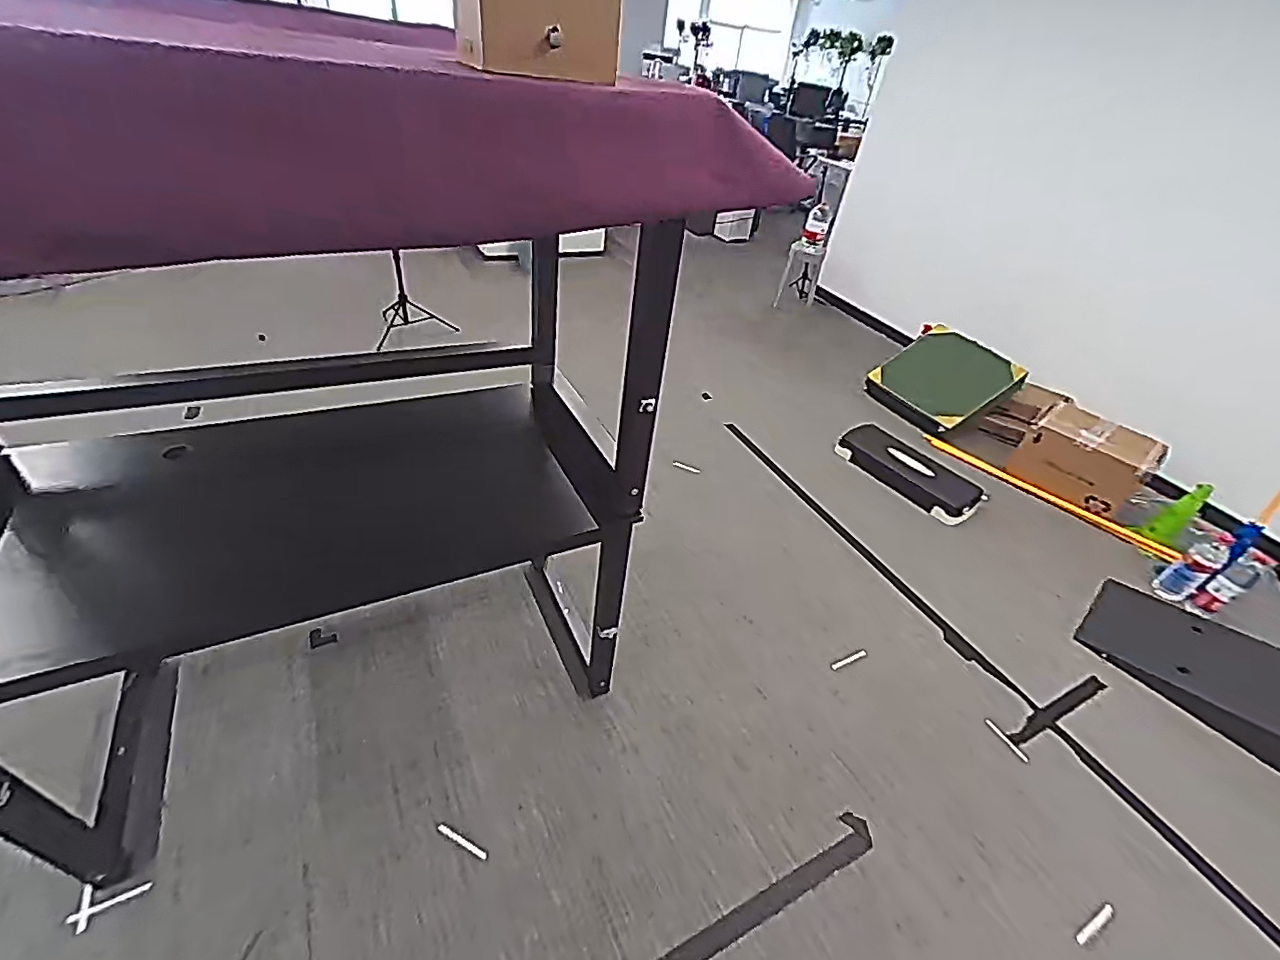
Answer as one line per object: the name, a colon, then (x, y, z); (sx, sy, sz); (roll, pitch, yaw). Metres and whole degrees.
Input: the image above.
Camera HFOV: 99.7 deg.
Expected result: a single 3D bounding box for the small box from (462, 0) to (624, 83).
small box: (-0.126, -0.616, 0.684); (0.179, 0.176, 0.168); (-11, 42, -23)
